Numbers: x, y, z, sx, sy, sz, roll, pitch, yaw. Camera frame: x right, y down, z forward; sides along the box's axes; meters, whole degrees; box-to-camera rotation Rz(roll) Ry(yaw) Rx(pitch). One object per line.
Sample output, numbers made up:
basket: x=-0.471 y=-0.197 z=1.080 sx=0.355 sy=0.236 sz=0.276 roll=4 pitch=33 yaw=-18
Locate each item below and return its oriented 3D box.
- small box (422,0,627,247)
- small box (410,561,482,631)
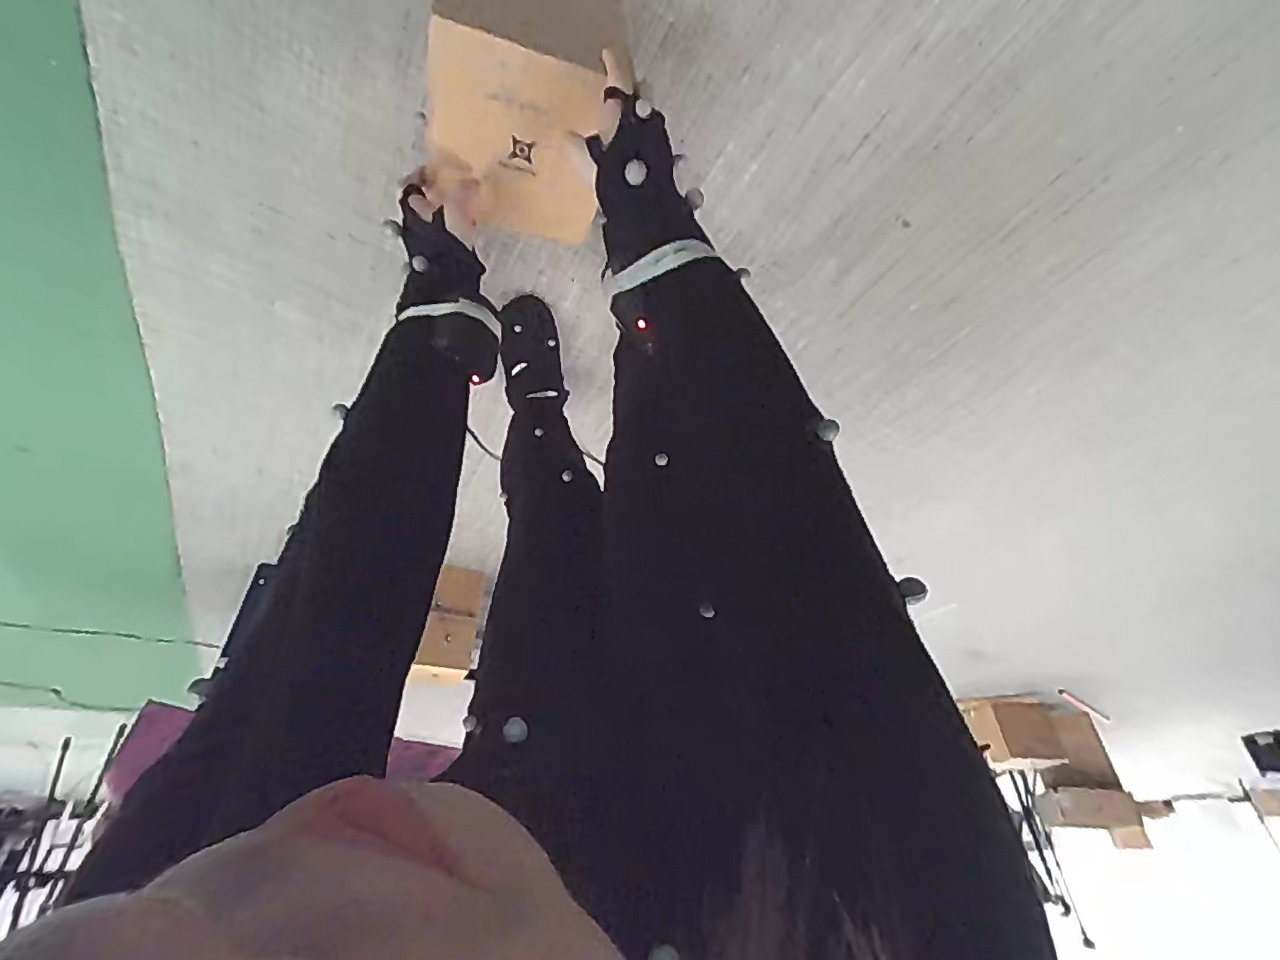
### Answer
small box: x=-0.121 y=-0.377 z=0.541 sx=0.168 sy=0.176 sz=0.179 roll=5 pitch=153 yaw=-21
small box: x=-0.638 y=0.384 z=1.793 sx=0.179 sy=0.176 sz=0.168 roll=18 pitch=140 yaw=-23
